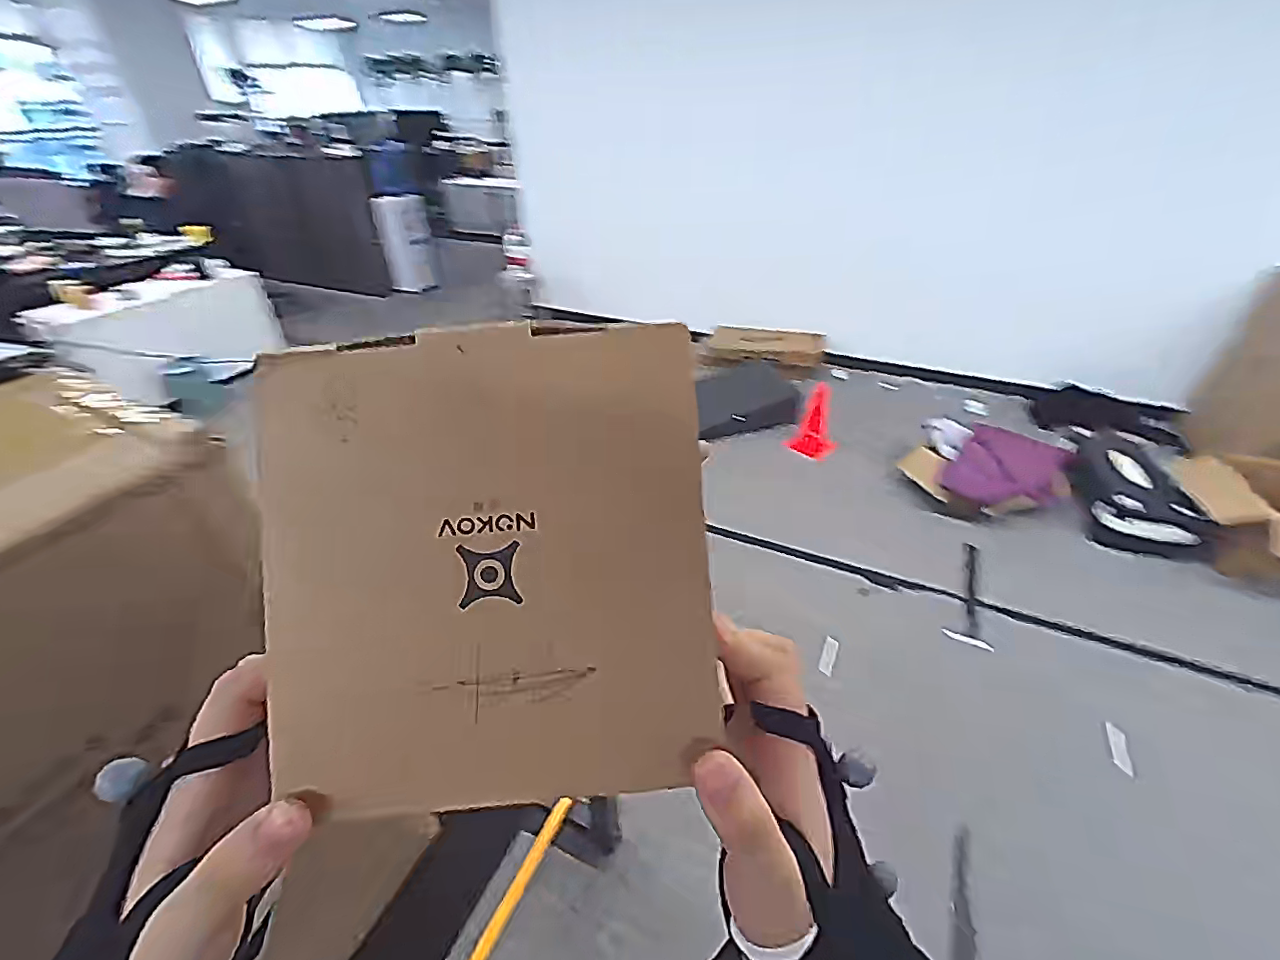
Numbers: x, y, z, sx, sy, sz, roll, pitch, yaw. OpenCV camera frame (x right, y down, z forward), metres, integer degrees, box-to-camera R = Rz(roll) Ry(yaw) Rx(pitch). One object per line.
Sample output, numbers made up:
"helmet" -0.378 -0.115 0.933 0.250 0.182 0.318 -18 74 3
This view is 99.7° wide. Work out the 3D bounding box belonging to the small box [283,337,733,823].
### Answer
"small box" -0.053 0.041 0.285 0.168 0.179 0.176 -5 -4 0
